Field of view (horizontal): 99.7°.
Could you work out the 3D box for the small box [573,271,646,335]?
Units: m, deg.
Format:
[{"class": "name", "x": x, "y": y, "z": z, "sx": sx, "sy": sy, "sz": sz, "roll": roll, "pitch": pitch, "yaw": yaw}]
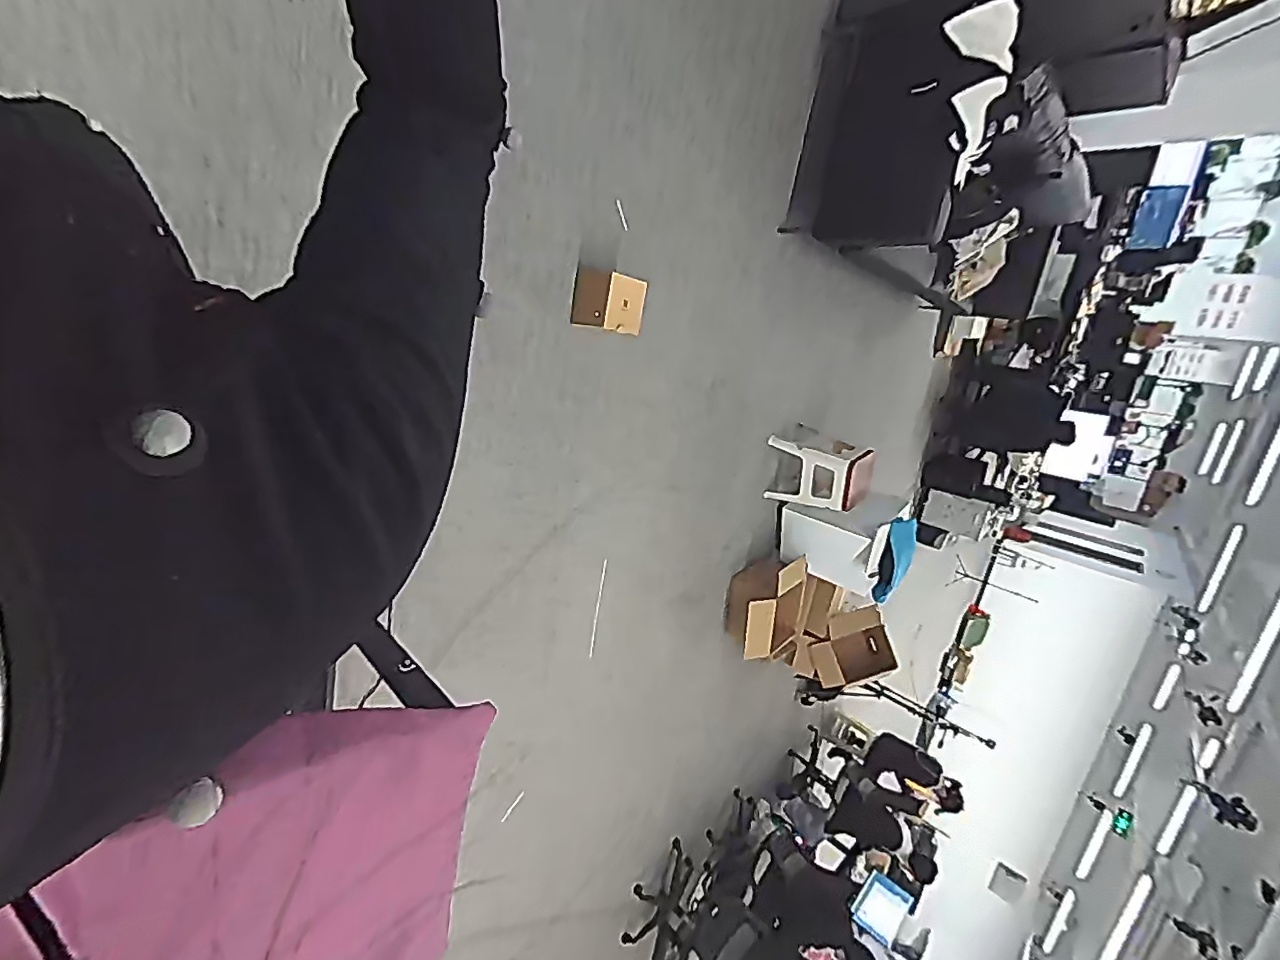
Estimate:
[{"class": "small box", "x": -0.107, "y": -0.596, "z": 1.812, "sx": 0.168, "sy": 0.176, "sz": 0.179, "roll": -4, "pitch": 110, "yaw": -47}]
